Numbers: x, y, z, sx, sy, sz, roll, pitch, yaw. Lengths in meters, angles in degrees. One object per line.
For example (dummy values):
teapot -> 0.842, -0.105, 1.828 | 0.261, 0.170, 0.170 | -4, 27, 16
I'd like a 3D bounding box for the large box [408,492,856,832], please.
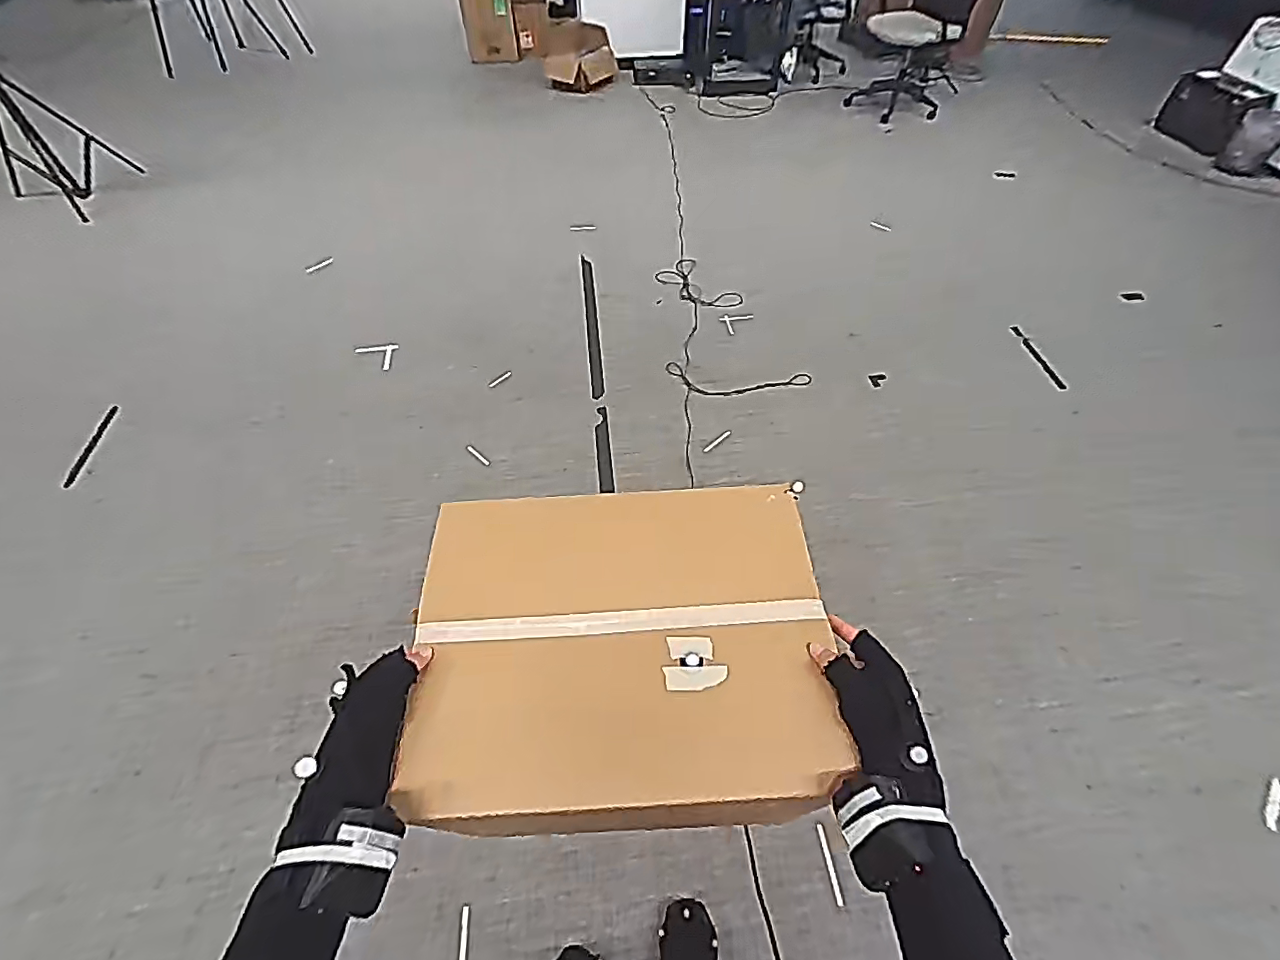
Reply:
large box -> -0.013, 0.237, 0.677 | 0.408, 0.320, 0.320 | -3, 55, -1
